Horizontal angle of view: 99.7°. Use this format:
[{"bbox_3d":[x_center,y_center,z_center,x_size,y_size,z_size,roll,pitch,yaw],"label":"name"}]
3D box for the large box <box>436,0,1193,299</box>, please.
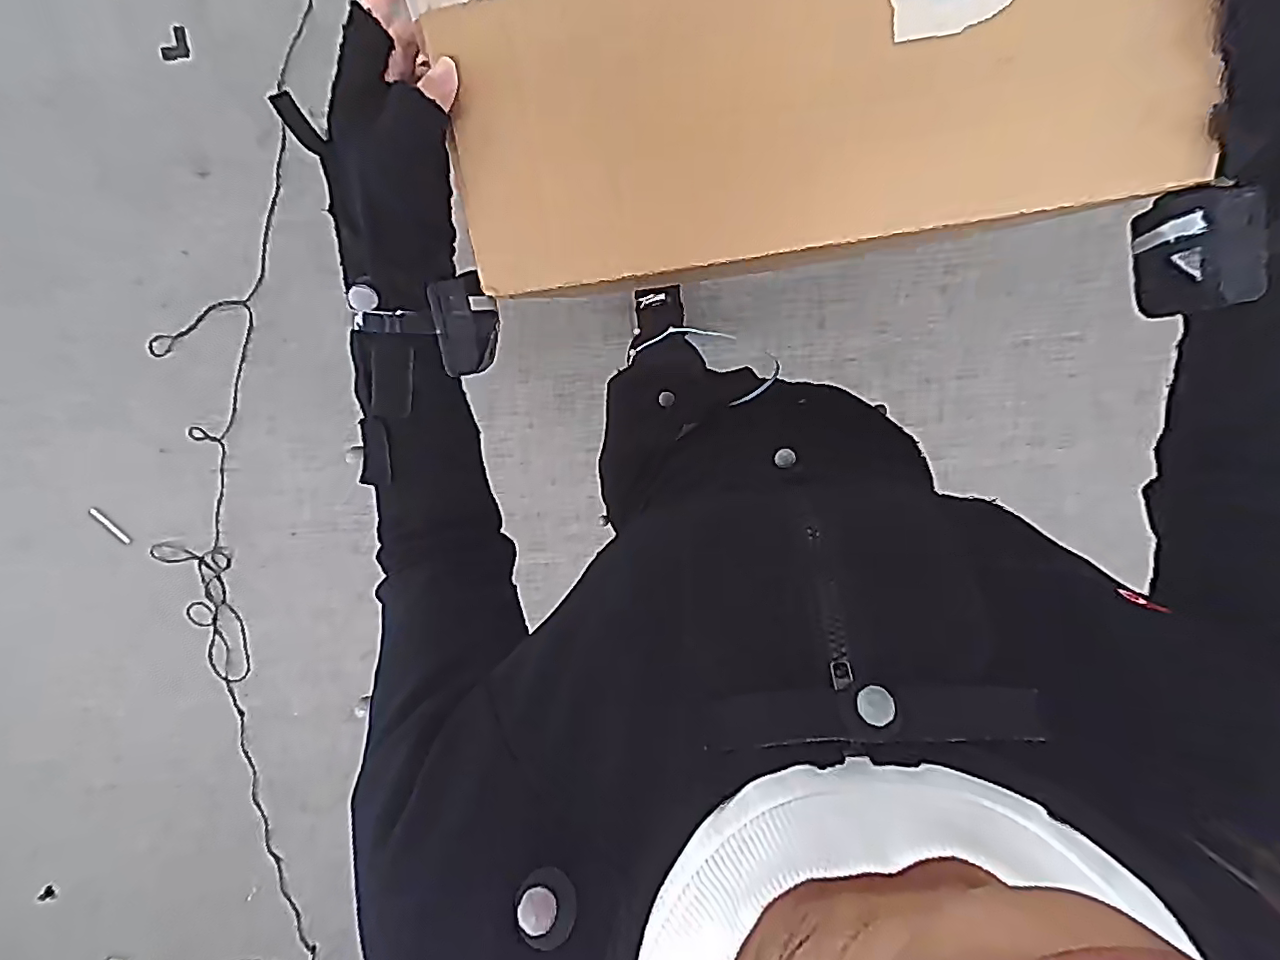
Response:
[{"bbox_3d":[0.088,-0.336,0.422,0.408,0.320,0.320,-7,108,6],"label":"large box"}]
